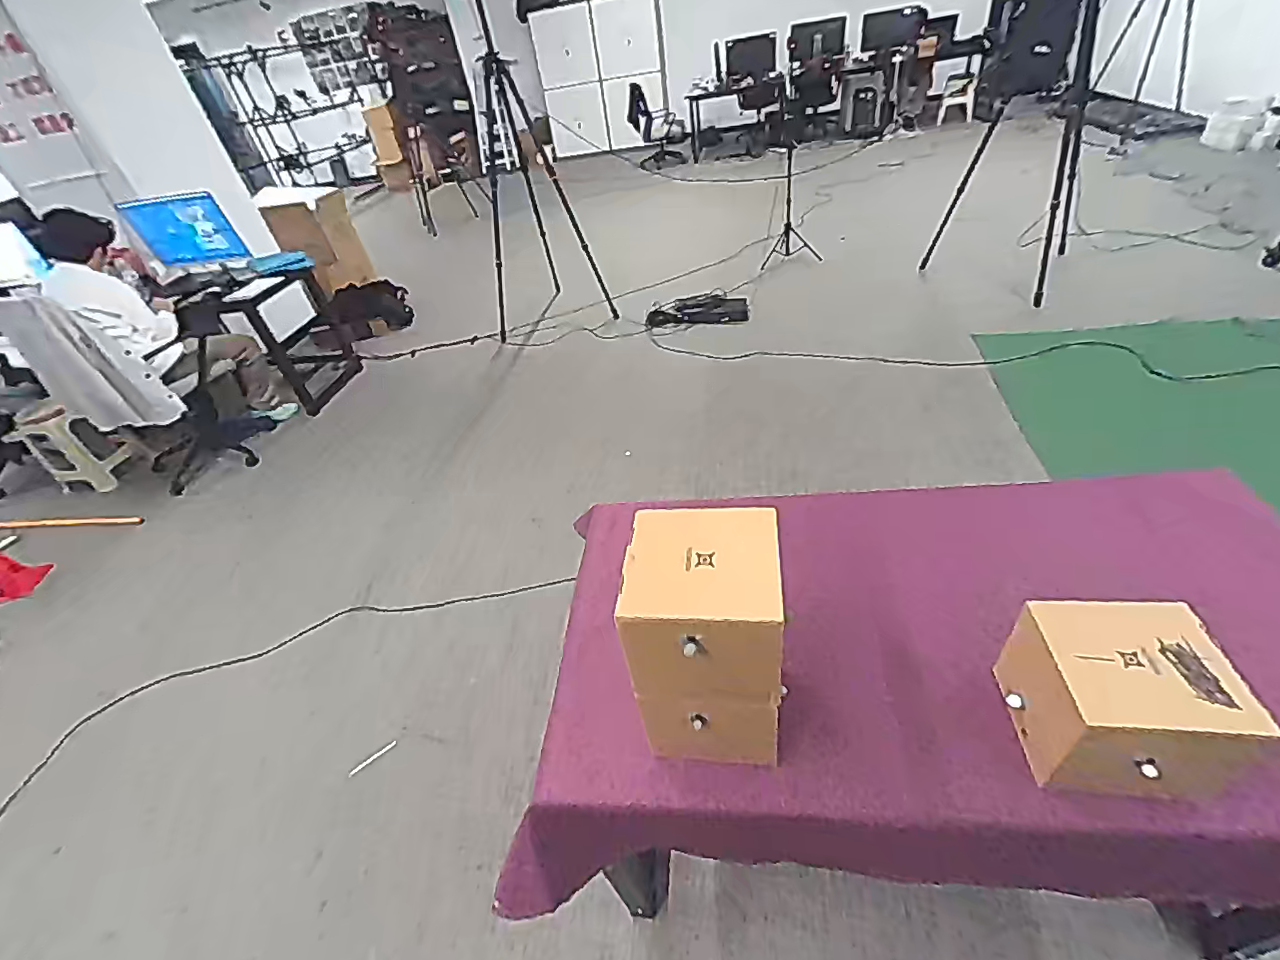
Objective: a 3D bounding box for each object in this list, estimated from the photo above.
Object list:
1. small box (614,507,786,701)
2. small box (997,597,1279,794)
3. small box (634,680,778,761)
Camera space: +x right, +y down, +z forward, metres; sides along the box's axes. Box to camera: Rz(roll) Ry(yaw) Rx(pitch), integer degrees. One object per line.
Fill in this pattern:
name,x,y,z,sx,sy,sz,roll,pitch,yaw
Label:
small box,0.081,0.150,0.656,0.179,0.176,0.168,-3,40,12
small box,0.577,0.262,0.660,0.179,0.176,0.168,-2,40,13
small box,0.101,0.274,0.760,0.179,0.176,0.168,-1,41,12
